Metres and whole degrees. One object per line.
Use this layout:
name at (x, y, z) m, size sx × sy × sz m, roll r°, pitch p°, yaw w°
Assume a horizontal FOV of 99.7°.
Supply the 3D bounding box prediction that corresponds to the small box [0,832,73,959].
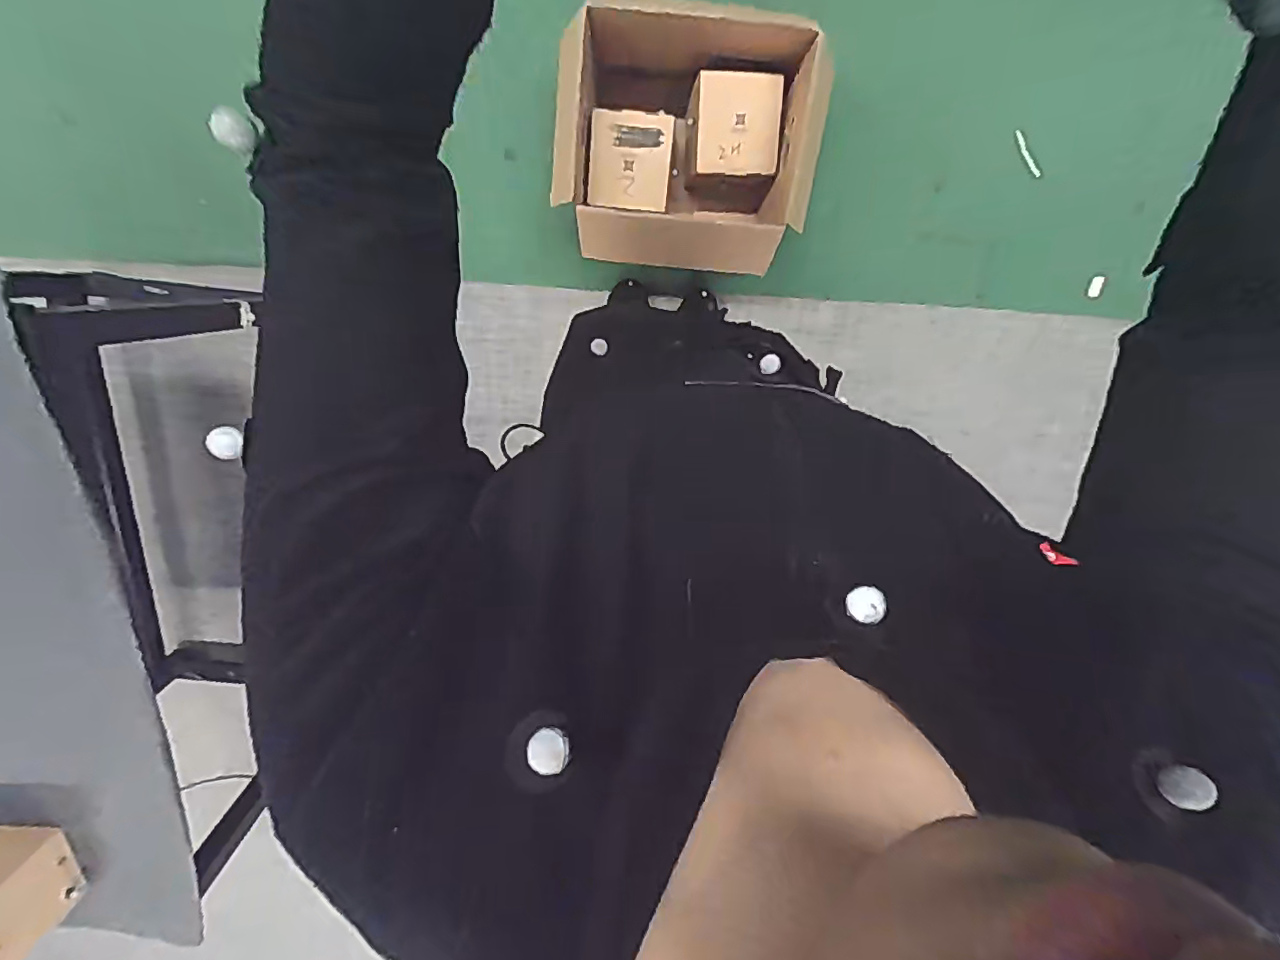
small box at (-1.124, 0.724, 0.909) m, size 0.179 × 0.176 × 0.168 m, roll 2°, pitch 109°, yaw 1°
